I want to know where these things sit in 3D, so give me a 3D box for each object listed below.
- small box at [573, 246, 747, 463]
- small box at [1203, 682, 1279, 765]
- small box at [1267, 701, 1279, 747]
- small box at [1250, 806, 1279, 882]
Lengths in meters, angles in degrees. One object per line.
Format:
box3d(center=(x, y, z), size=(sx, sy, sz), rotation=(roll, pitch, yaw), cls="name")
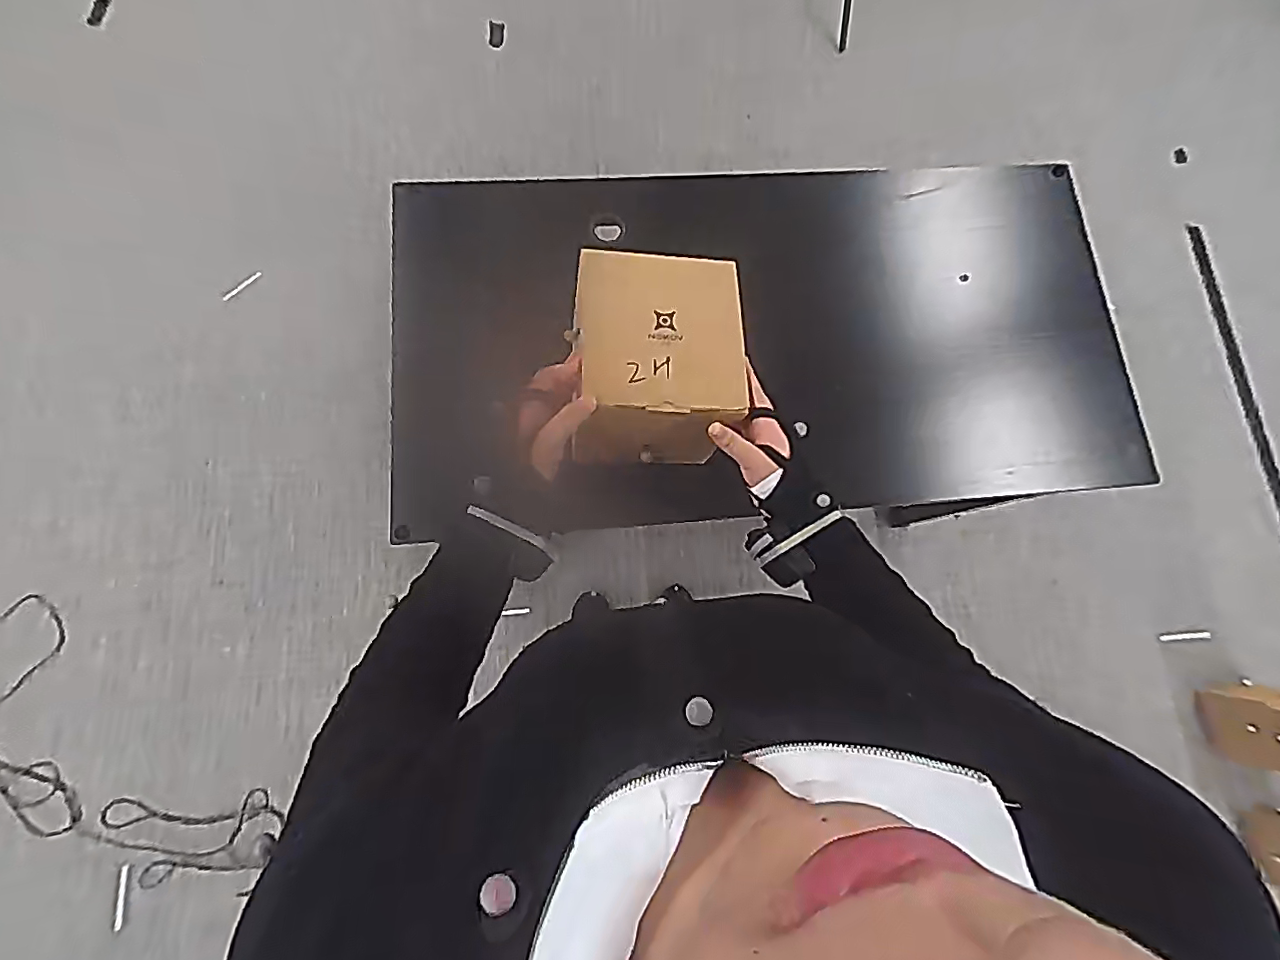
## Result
box3d(center=(0.010, -0.131, 0.615), size=(0.168, 0.176, 0.179), rotation=(1, 73, -9), cls="small box")
box3d(center=(1.676, 0.644, 1.440), size=(0.168, 0.176, 0.179), rotation=(-6, 79, -4), cls="small box")
box3d(center=(1.681, 0.615, 1.280), size=(0.179, 0.176, 0.168), rotation=(-8, 77, -3), cls="small box")
box3d(center=(1.737, 0.954, 1.382), size=(0.179, 0.176, 0.168), rotation=(-4, 78, -3), cls="small box")
